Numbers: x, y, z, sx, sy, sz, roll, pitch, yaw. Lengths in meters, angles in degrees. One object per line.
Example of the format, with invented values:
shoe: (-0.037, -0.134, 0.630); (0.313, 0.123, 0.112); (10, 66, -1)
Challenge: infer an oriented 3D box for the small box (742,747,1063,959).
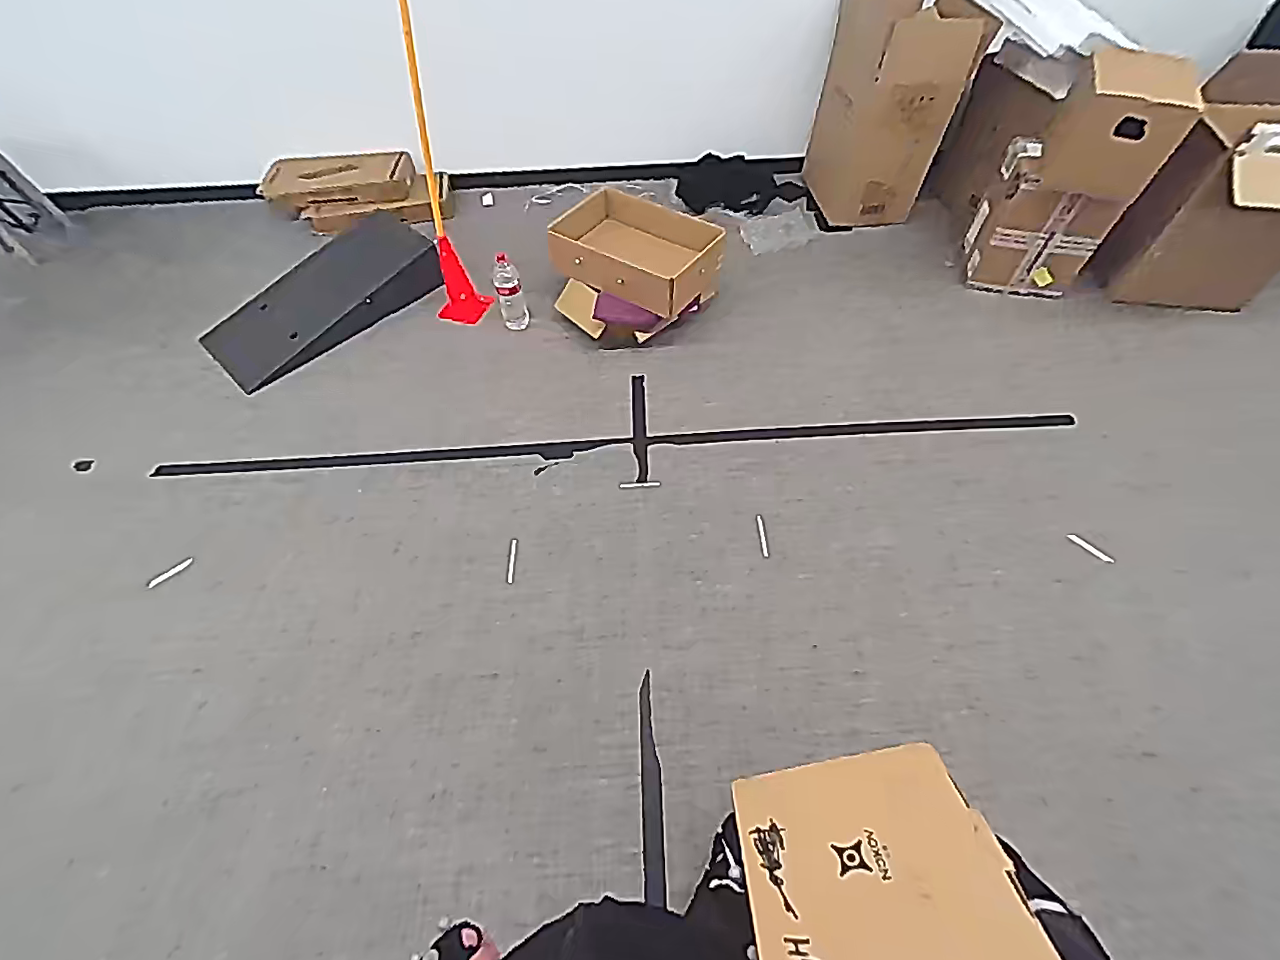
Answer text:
small box: (0.191, 0.351, 0.427); (0.179, 0.176, 0.168); (-14, 18, 7)
